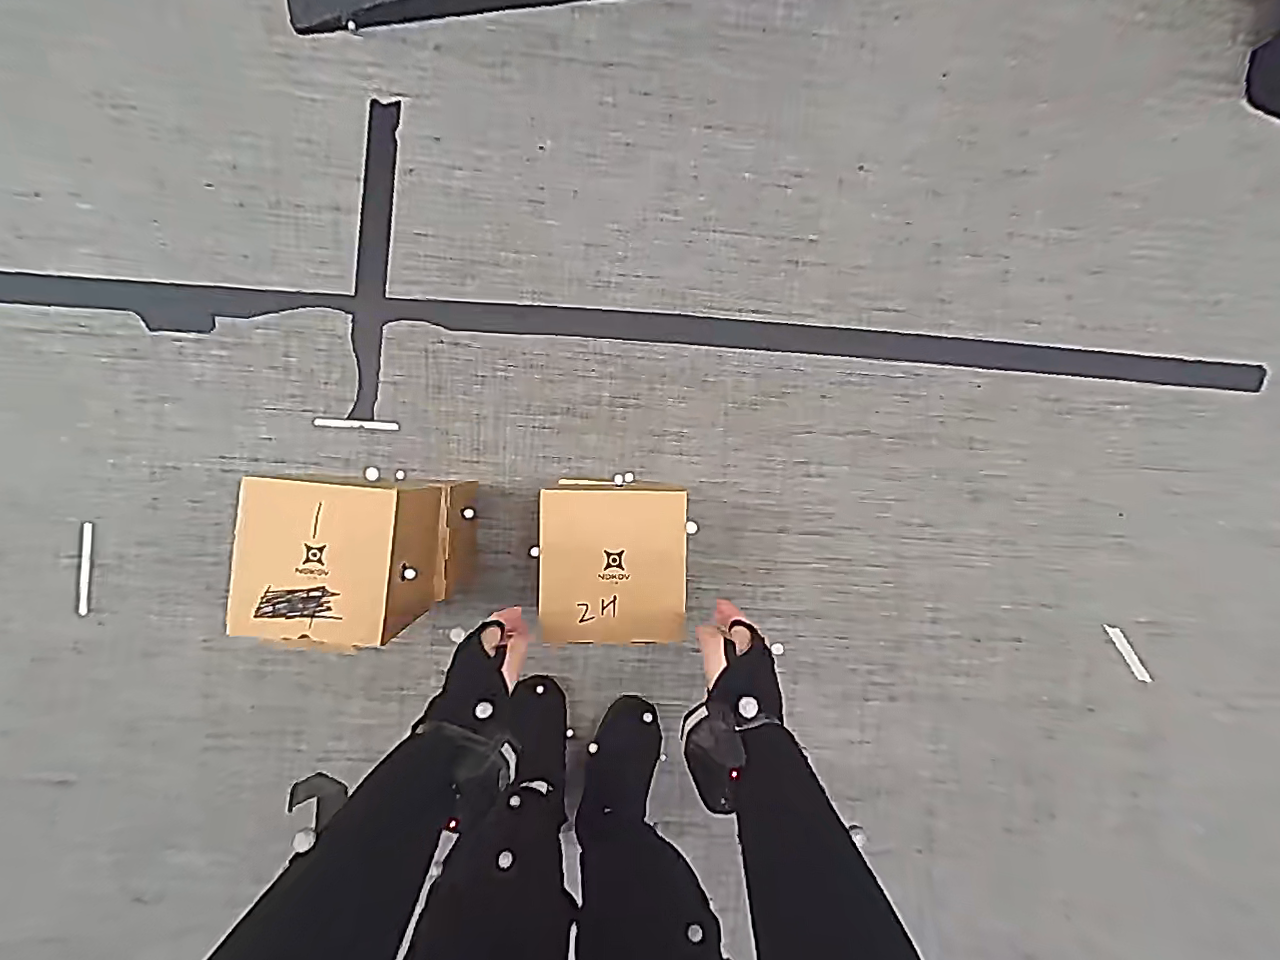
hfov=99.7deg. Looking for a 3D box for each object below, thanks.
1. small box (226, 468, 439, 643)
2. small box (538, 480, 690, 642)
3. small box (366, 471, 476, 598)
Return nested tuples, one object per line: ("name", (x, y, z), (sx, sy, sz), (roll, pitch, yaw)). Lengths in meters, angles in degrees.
("small box", (-0.357, 0.081, 0.659), (0.168, 0.176, 0.179), (6, 90, -4))
("small box", (-0.033, 0.090, 0.676), (0.168, 0.176, 0.179), (1, 92, -2))
("small box", (-0.357, 0.075, 0.823), (0.179, 0.176, 0.168), (4, 91, -3))
